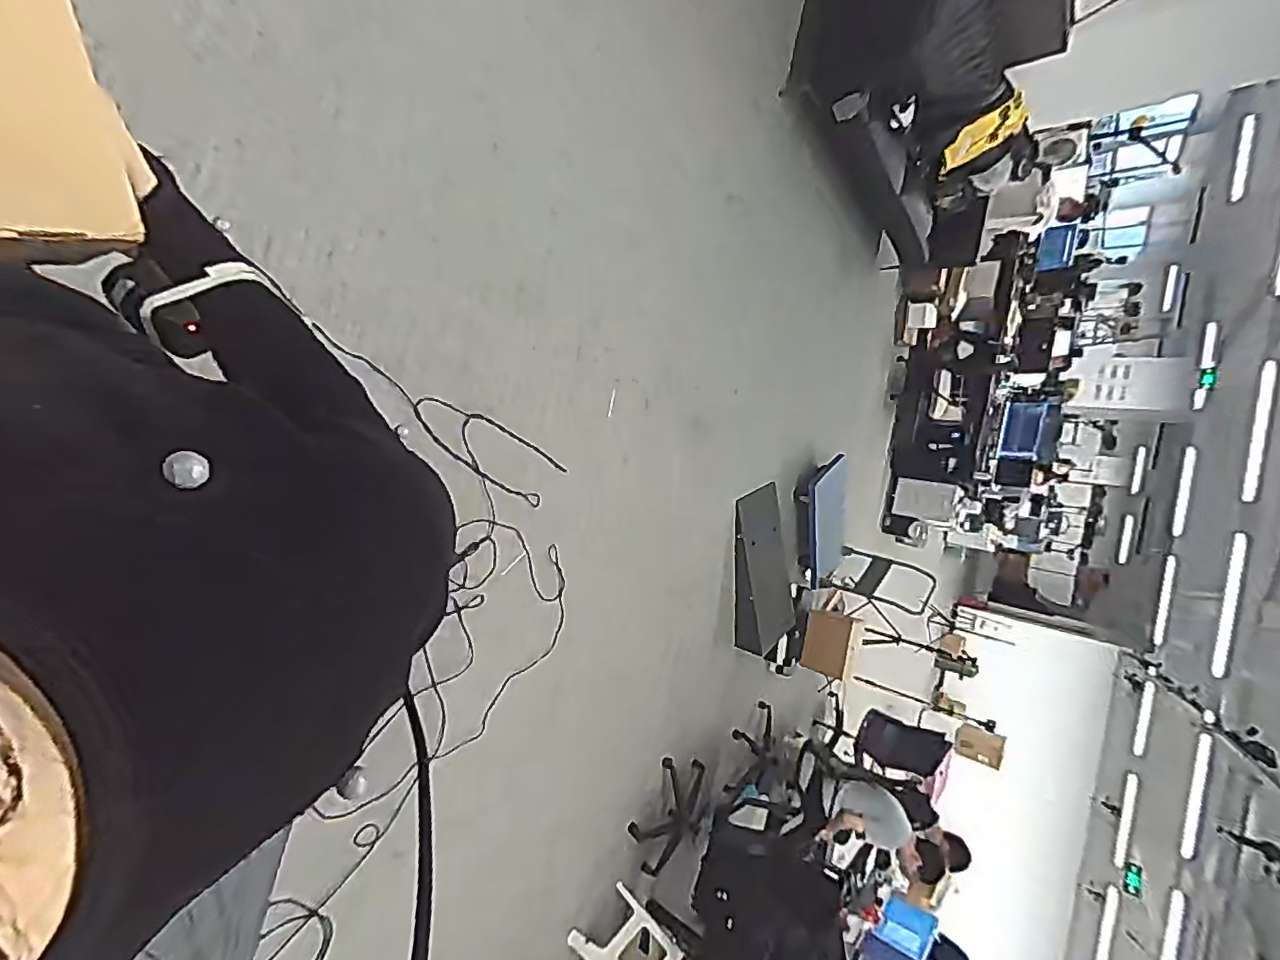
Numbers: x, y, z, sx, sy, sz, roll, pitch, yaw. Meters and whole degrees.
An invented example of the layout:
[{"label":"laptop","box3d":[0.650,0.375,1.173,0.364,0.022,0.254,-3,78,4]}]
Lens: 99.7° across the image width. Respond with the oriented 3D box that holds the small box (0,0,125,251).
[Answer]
[{"label":"small box","box3d":[-0.452,-0.236,0.305,0.168,0.176,0.179,-28,121,-53]}]
